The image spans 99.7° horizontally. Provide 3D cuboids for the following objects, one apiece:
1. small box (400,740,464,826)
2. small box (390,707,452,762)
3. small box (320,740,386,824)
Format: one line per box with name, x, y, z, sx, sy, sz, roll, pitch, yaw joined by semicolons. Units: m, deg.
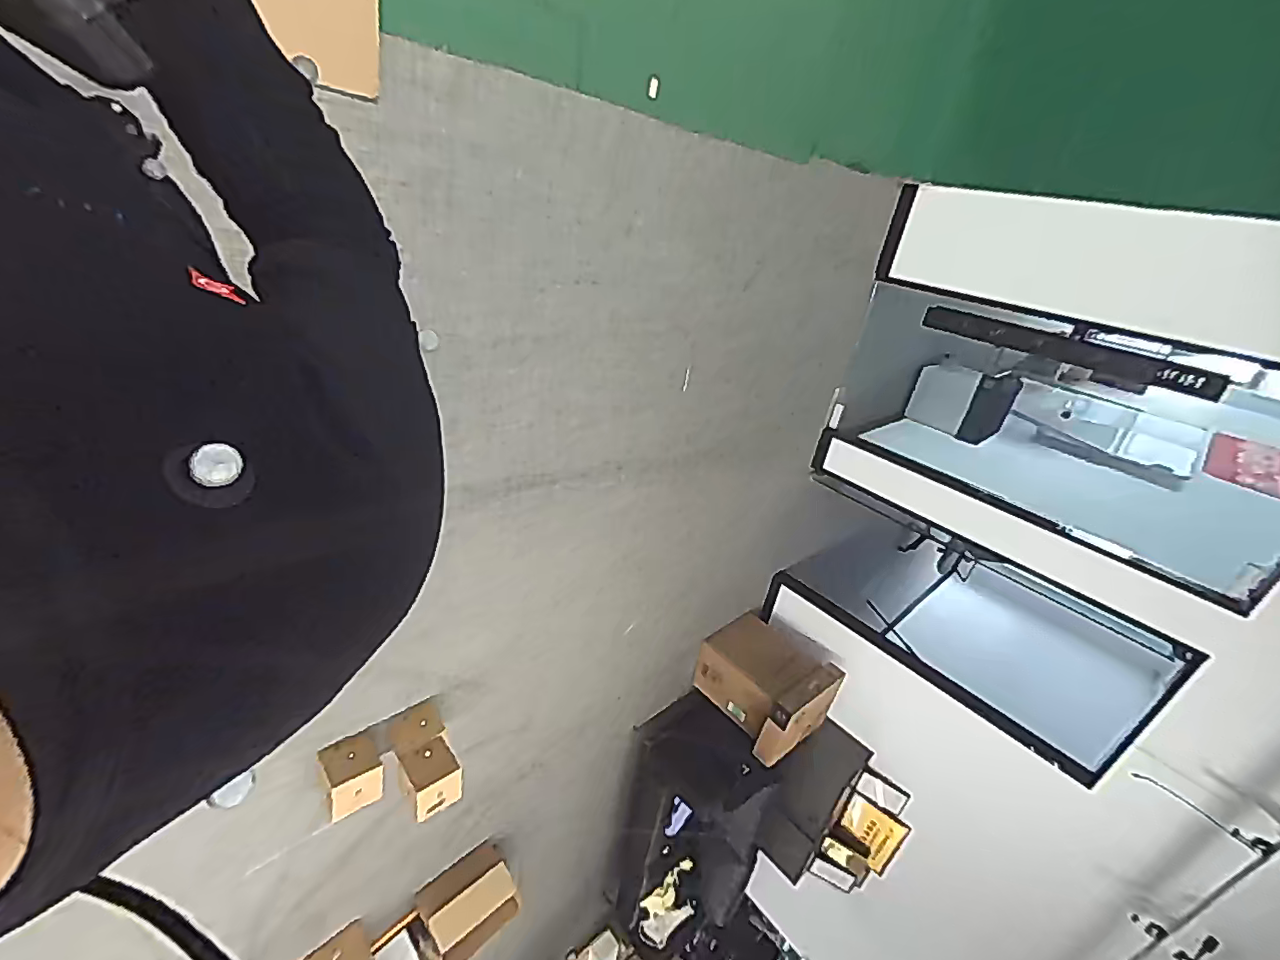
small box;-0.759;1.094;1.966;0.168;0.176;0.179;-15;125;-42
small box;-0.845;1.011;2.084;0.168;0.176;0.179;-22;131;-38
small box;-1.022;1.058;1.917;0.168;0.176;0.179;-10;123;-44
